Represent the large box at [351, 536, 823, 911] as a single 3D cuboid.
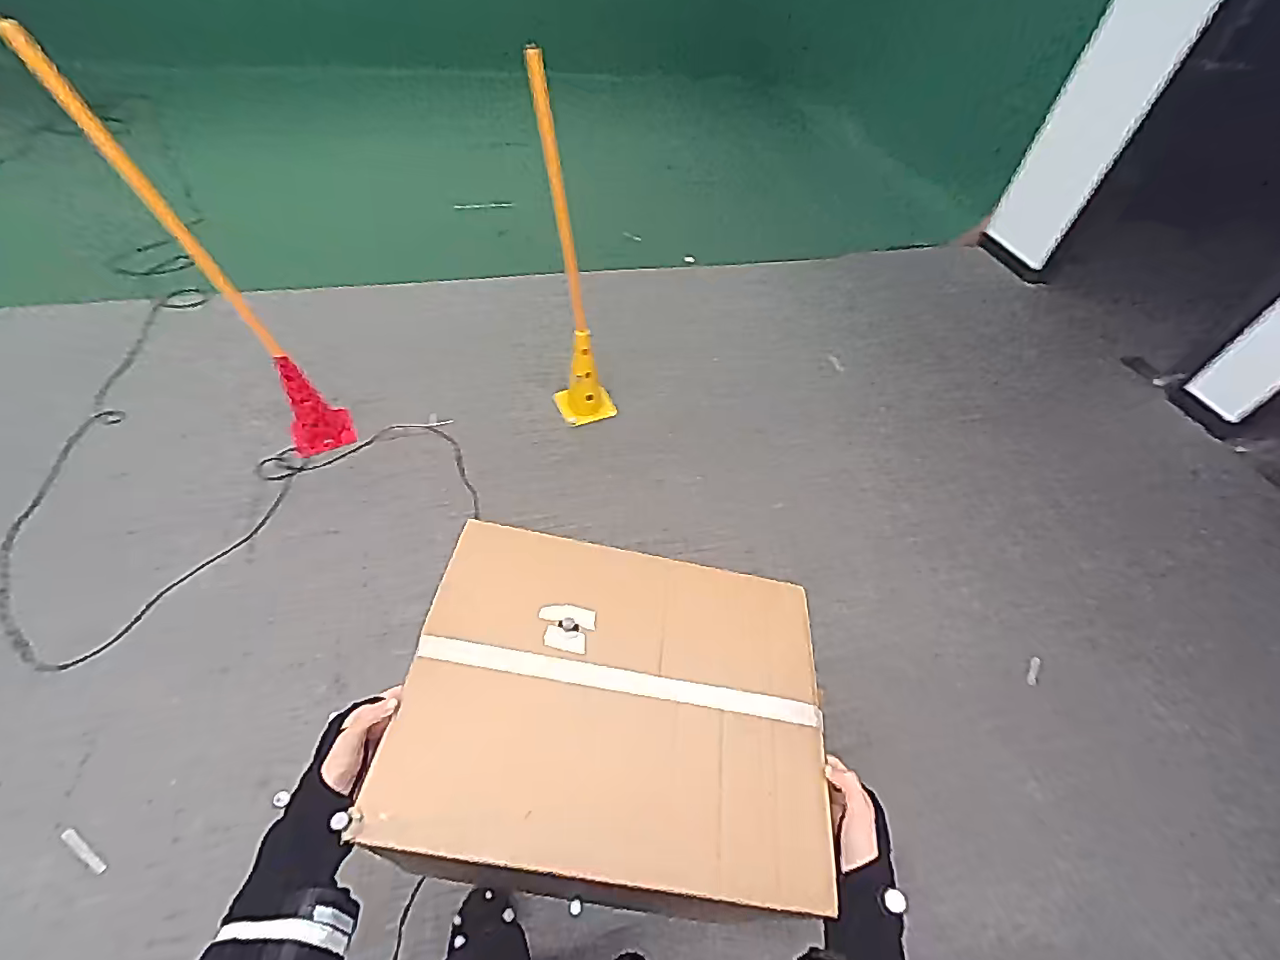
[{"bbox_3d":[-0.047,0.306,0.653,0.408,0.320,0.320,11,49,-4],"label":"large box"}]
